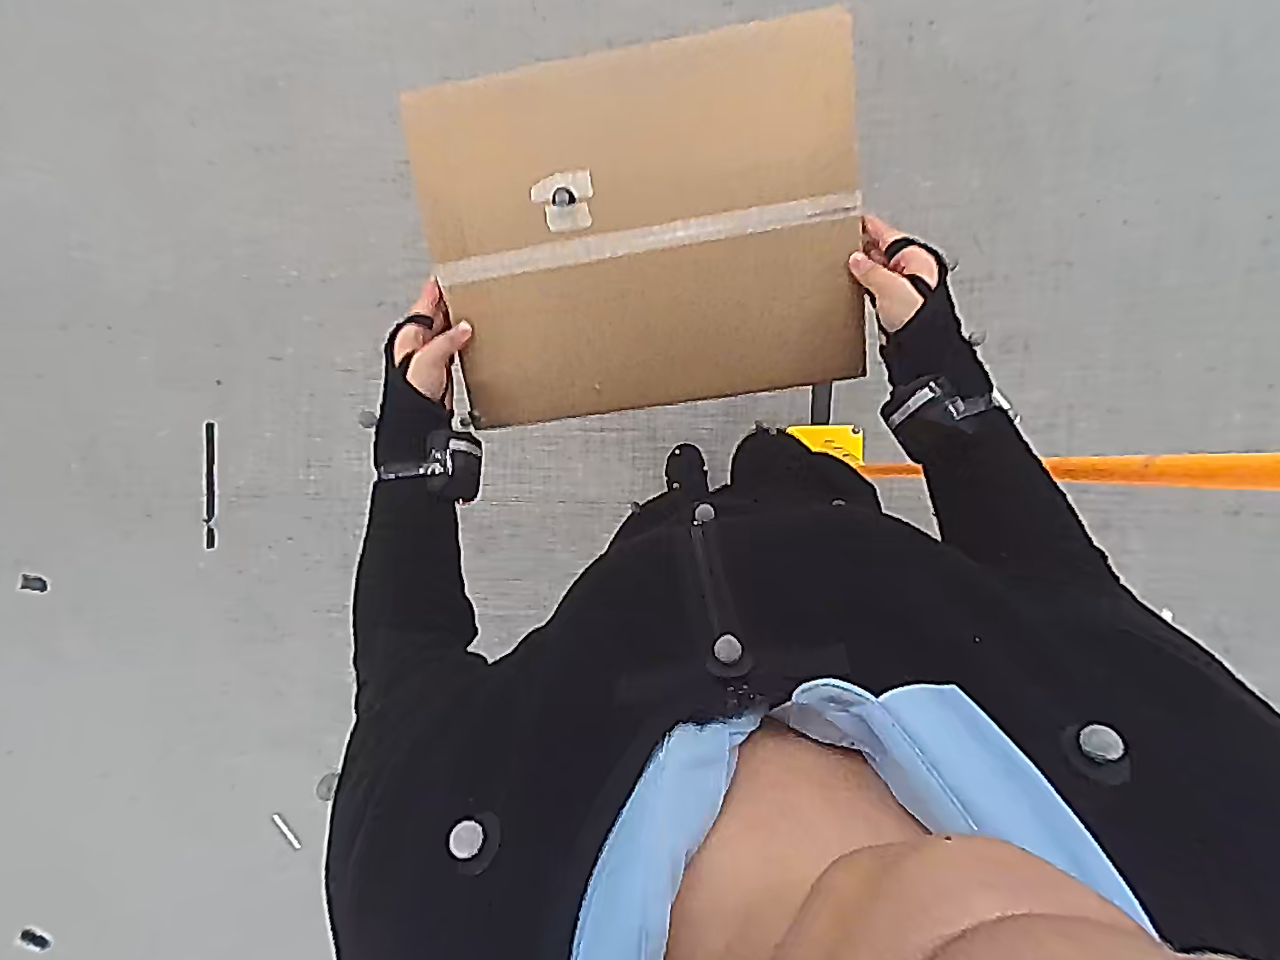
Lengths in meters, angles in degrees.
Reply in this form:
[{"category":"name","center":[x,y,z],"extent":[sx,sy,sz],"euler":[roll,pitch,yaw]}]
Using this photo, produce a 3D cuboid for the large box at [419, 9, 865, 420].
[{"category":"large box","center":[0.019,-0.277,0.667],"extent":[0.408,0.320,0.320],"euler":[-7,104,5]}]
